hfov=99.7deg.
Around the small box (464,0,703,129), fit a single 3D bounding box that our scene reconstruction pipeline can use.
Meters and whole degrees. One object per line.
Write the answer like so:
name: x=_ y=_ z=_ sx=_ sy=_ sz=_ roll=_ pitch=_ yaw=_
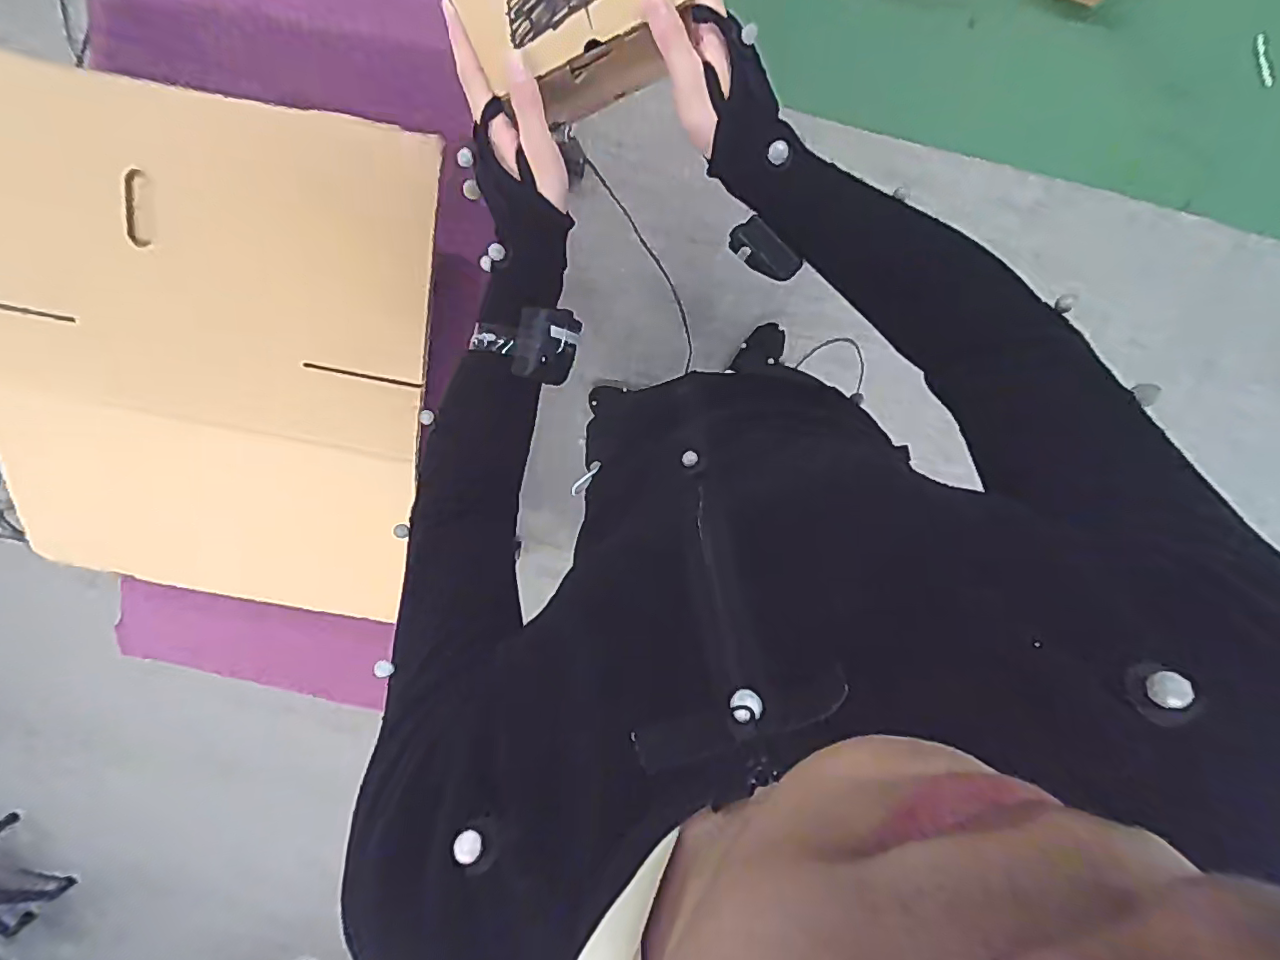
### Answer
small box: x=-0.061 y=-0.419 z=0.441 sx=0.168 sy=0.176 sz=0.179 roll=-22 pitch=110 yaw=6
